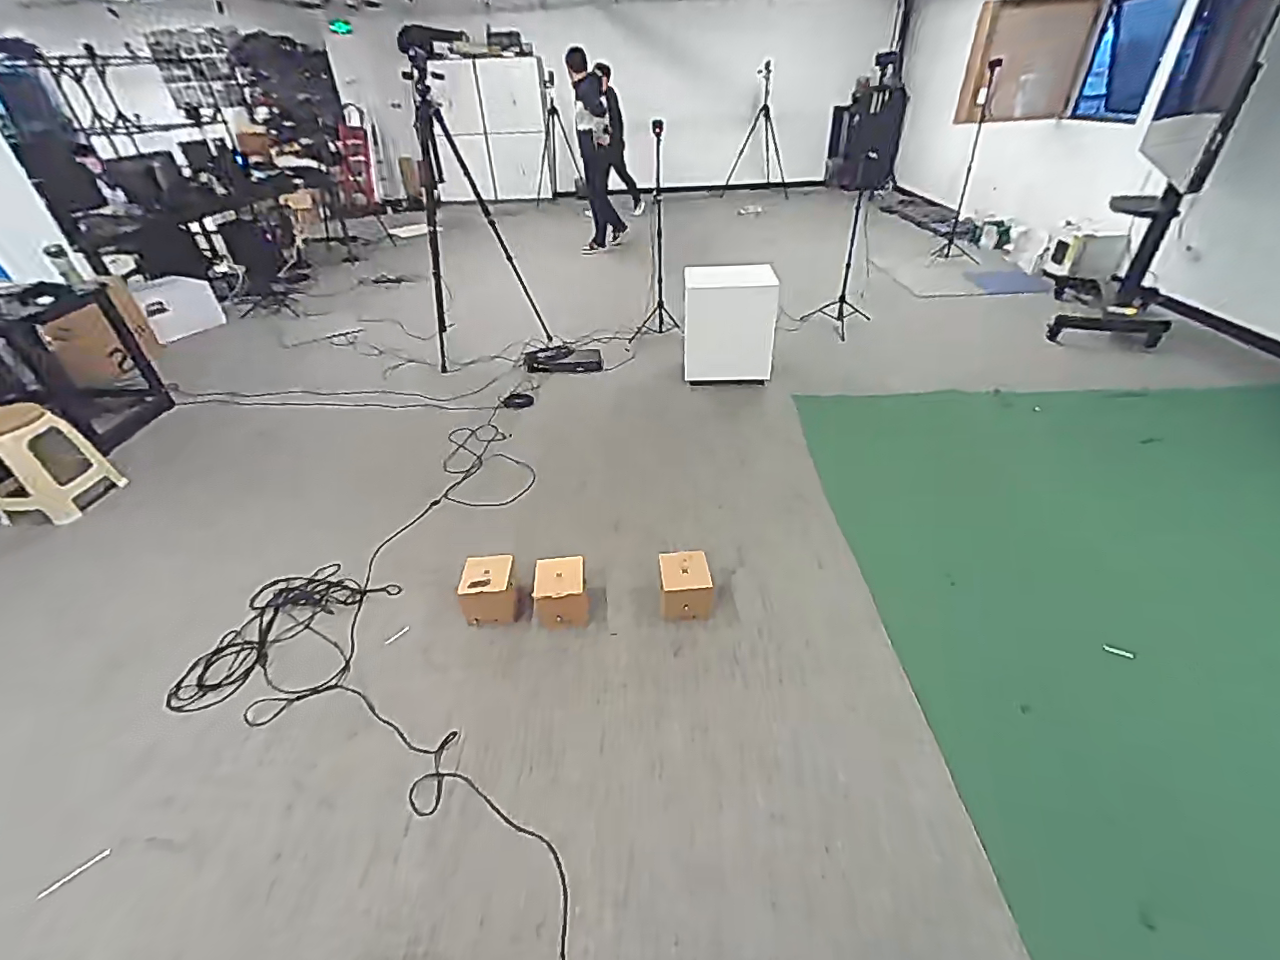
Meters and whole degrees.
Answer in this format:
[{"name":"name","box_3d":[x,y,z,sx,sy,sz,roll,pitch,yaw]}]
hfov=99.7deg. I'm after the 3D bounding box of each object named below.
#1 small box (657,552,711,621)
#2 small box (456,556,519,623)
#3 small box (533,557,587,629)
[{"name":"small box","box_3d":[0.150,0.377,1.889,0.168,0.176,0.179,-4,37,-3]},{"name":"small box","box_3d":[-0.531,0.391,1.907,0.168,0.176,0.179,-3,36,-1]},{"name":"small box","box_3d":[-0.276,0.395,1.889,0.168,0.176,0.179,-5,38,-3]}]
